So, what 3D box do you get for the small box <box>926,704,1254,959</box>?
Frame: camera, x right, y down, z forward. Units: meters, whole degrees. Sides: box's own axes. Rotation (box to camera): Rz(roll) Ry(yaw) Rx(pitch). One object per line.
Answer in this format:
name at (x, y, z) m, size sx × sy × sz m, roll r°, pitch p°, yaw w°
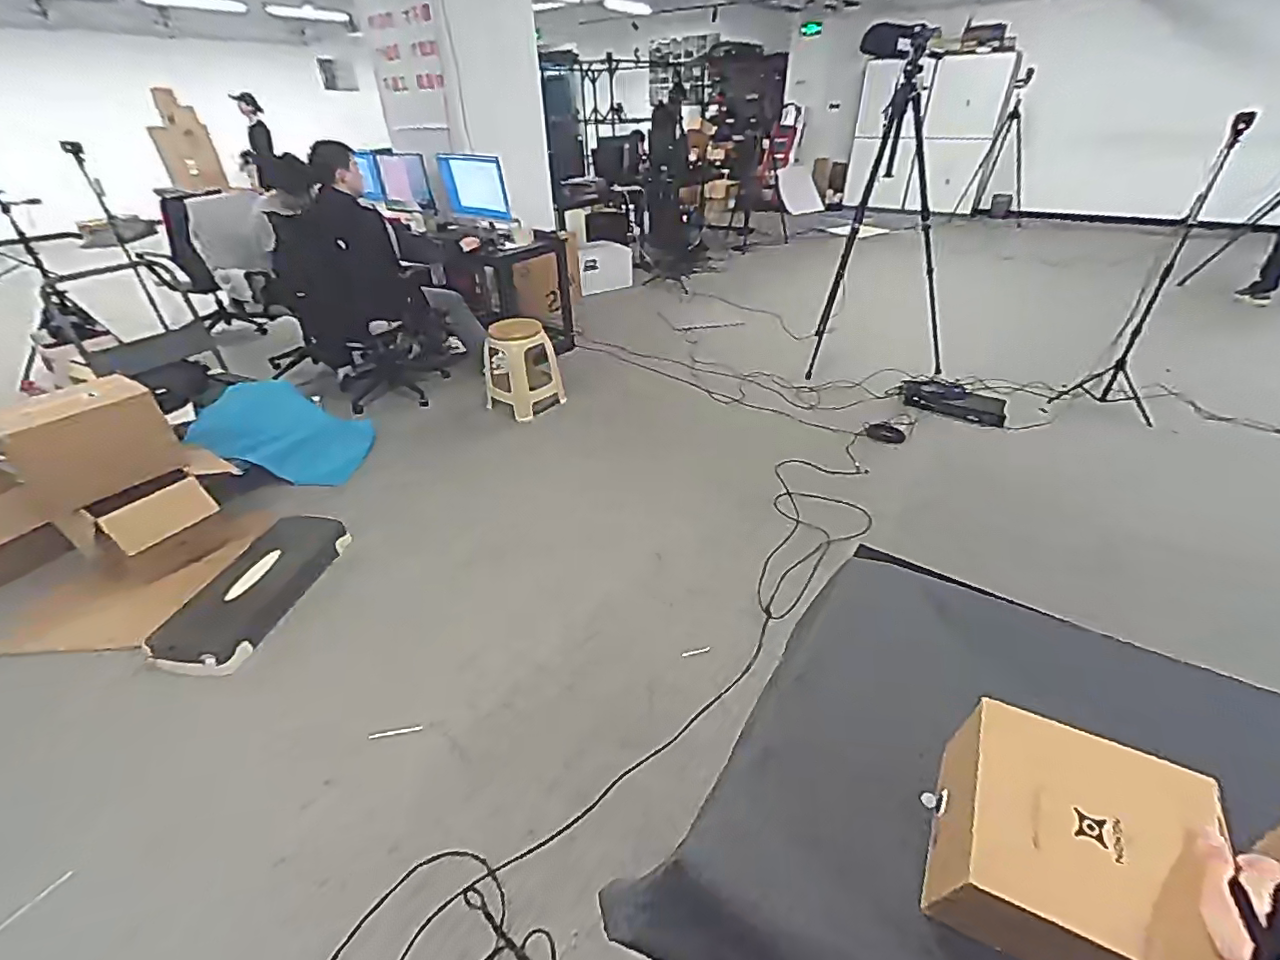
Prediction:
small box at (0.384, 0.344, 0.493) m, size 0.179 × 0.176 × 0.168 m, roll 14°, pitch 49°, yaw 25°
